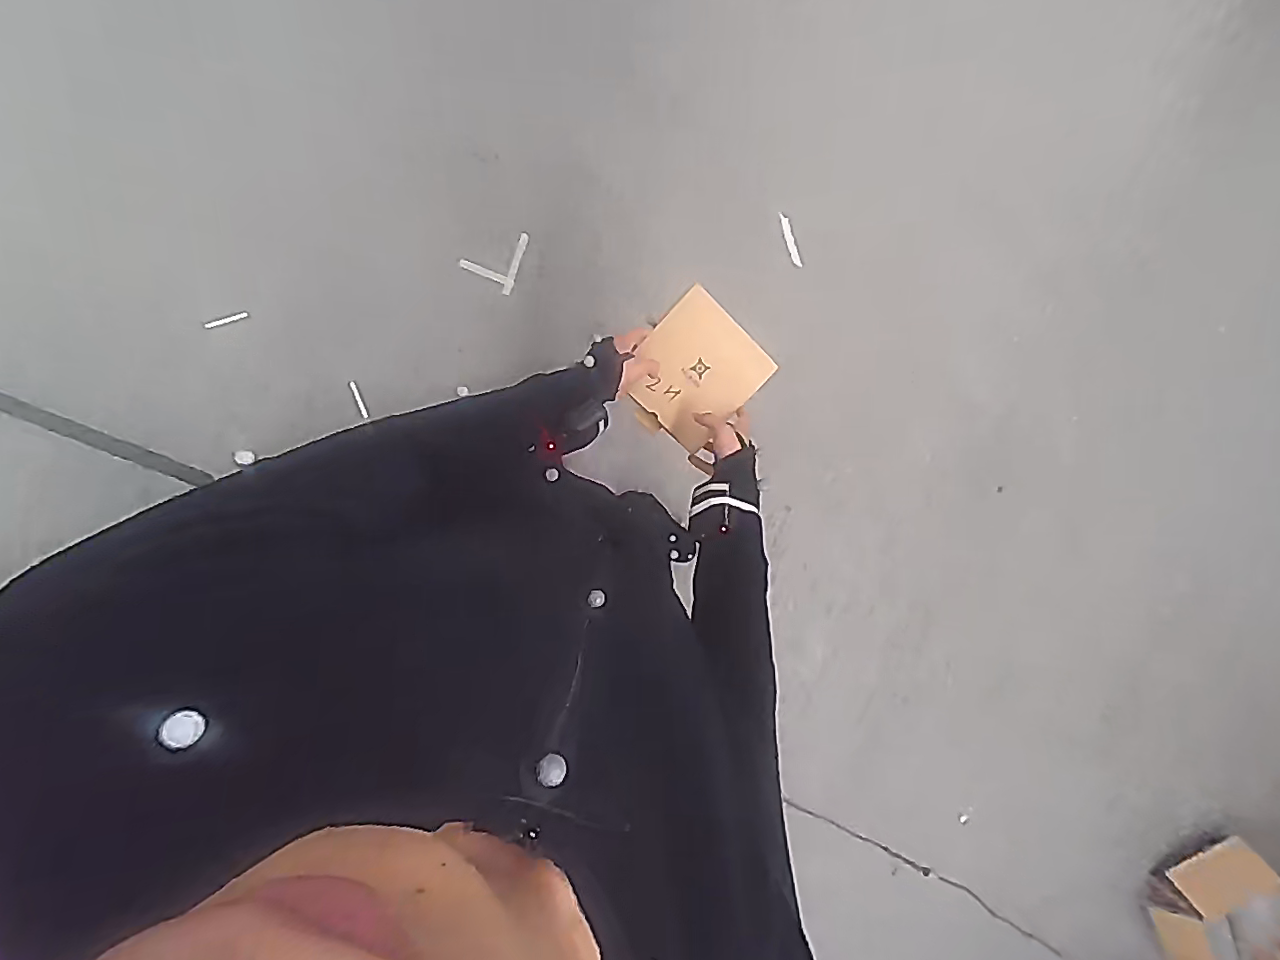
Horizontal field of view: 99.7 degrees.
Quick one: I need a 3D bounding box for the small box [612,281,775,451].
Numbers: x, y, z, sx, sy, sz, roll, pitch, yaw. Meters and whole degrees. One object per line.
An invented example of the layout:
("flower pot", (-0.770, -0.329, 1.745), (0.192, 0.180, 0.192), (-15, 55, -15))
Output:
("small box", (0.069, -0.173, 0.826), (0.168, 0.176, 0.179), (42, 98, -12))
